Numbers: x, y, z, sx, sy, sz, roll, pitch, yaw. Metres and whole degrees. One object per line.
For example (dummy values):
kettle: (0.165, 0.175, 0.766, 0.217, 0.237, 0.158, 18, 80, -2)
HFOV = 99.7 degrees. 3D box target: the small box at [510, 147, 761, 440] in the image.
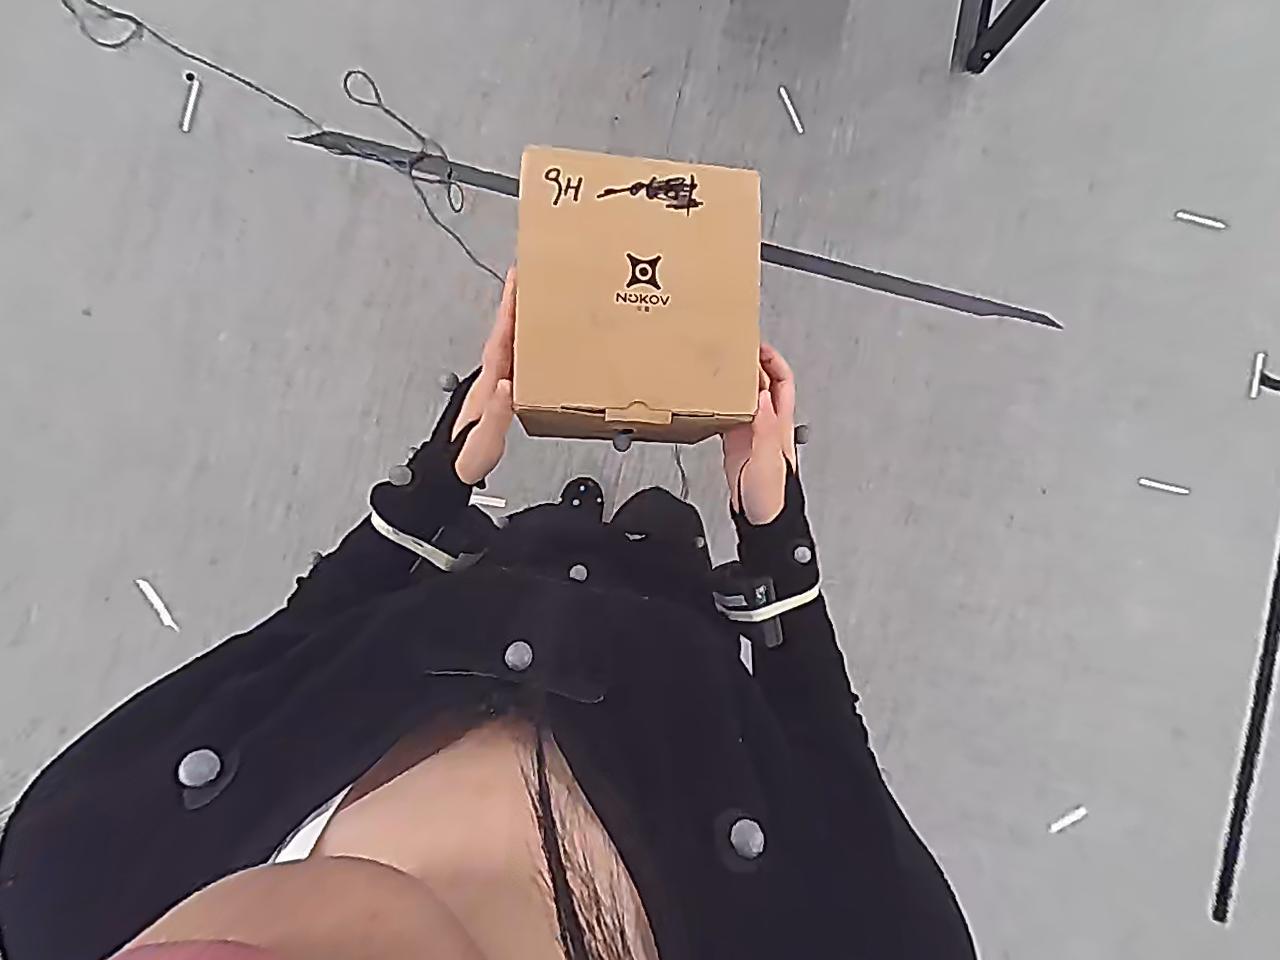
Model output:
small box: (-0.010, -0.128, 0.442, 0.168, 0.176, 0.179, 2, 88, -8)
